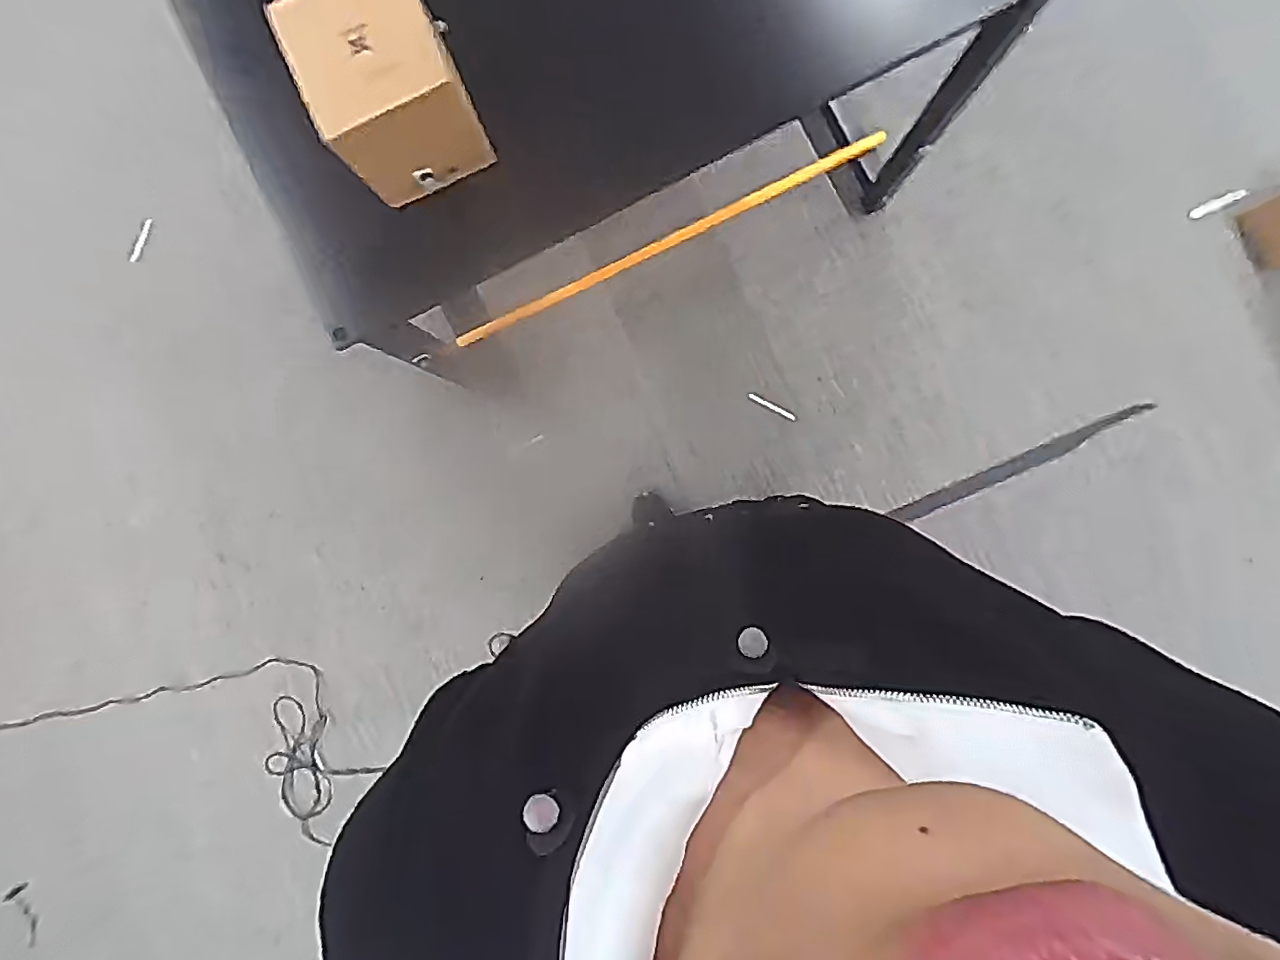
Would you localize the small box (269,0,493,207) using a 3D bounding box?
[{"bbox_3d":[-0.317,-0.498,0.698,0.168,0.176,0.179,-25,90,4],"label":"small box"}]

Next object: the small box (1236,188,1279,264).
[{"bbox_3d":[1.659,-0.658,1.329,0.168,0.176,0.179,-28,89,2],"label":"small box"}]
